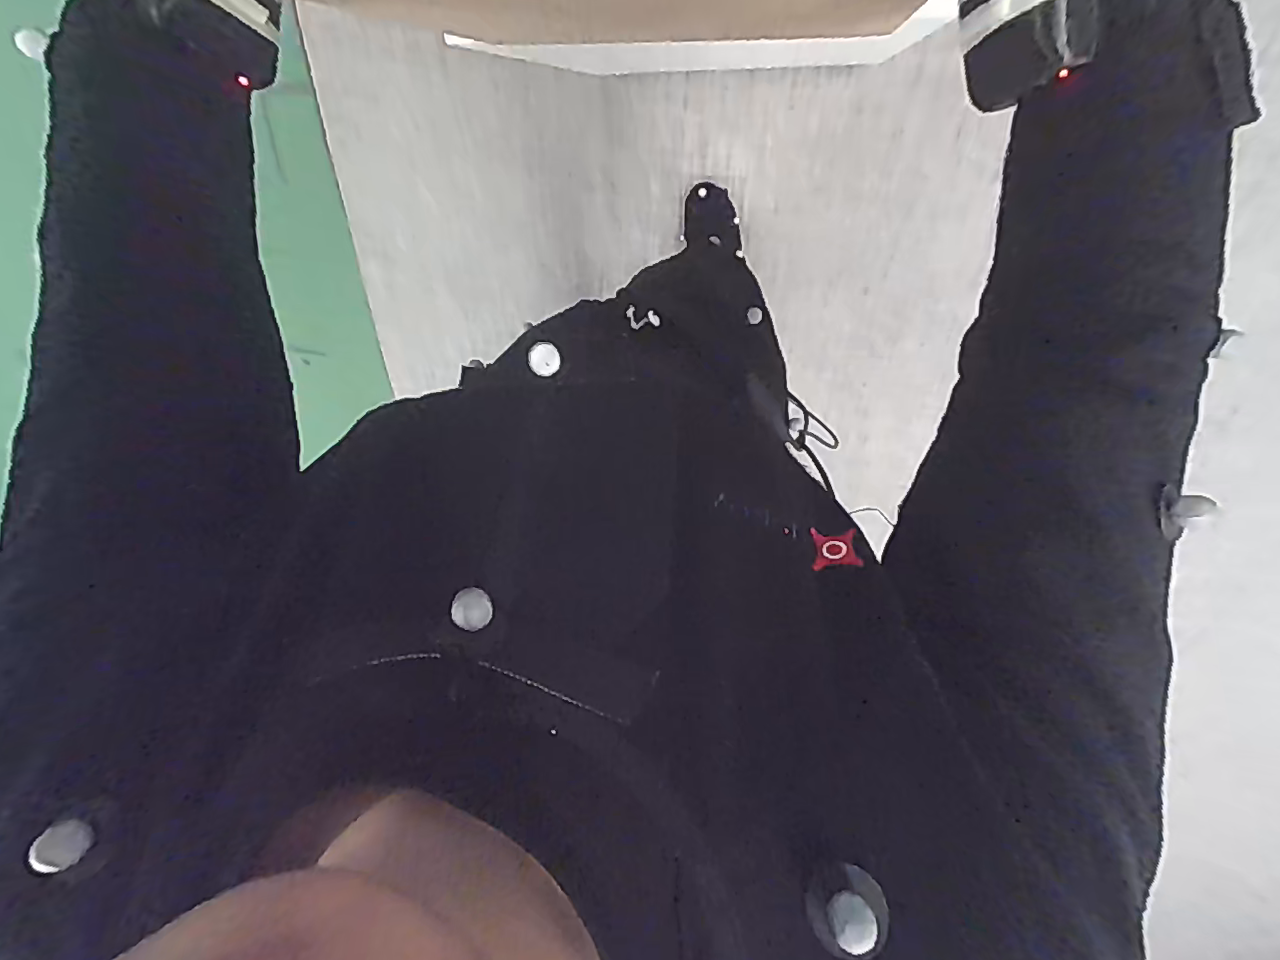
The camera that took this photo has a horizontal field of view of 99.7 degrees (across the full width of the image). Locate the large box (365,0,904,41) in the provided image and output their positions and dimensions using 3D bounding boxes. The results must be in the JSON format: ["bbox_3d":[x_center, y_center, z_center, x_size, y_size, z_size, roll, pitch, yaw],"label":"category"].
[{"bbox_3d":[0.005,-0.489,0.327,0.408,0.320,0.320,6,125,10],"label":"large box"}]
